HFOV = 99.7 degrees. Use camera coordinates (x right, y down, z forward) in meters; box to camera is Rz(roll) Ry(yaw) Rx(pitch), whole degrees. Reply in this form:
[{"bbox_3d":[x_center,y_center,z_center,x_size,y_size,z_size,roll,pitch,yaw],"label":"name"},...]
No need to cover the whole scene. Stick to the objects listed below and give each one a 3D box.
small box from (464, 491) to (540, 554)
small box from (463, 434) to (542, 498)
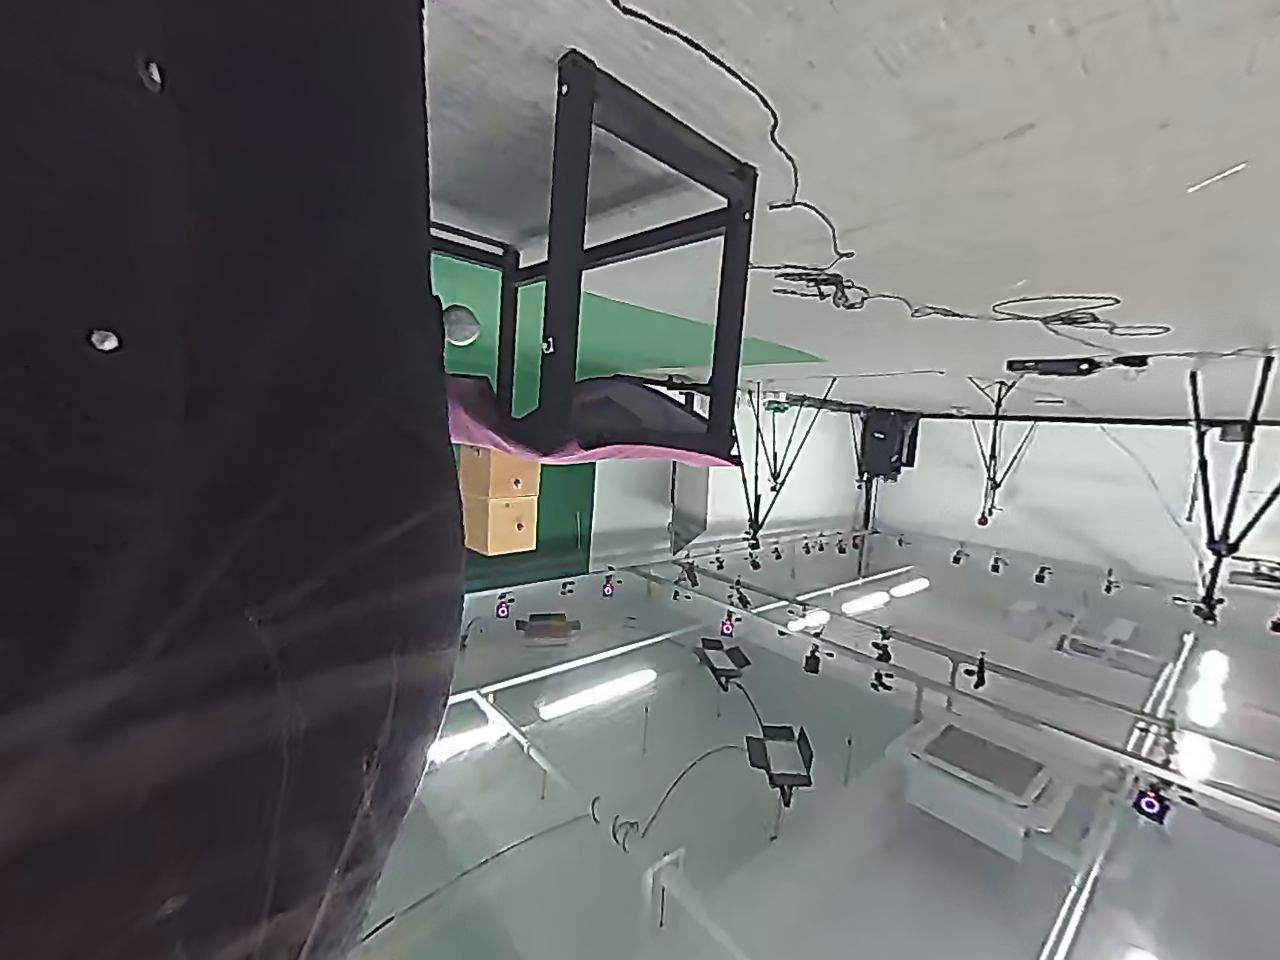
[{"bbox_3d":[-0.420,0.114,1.641,0.179,0.176,0.168,9,-172,43],"label":"small box"},{"bbox_3d":[-0.407,-0.046,1.617,0.168,0.176,0.179,8,-173,42],"label":"small box"}]
